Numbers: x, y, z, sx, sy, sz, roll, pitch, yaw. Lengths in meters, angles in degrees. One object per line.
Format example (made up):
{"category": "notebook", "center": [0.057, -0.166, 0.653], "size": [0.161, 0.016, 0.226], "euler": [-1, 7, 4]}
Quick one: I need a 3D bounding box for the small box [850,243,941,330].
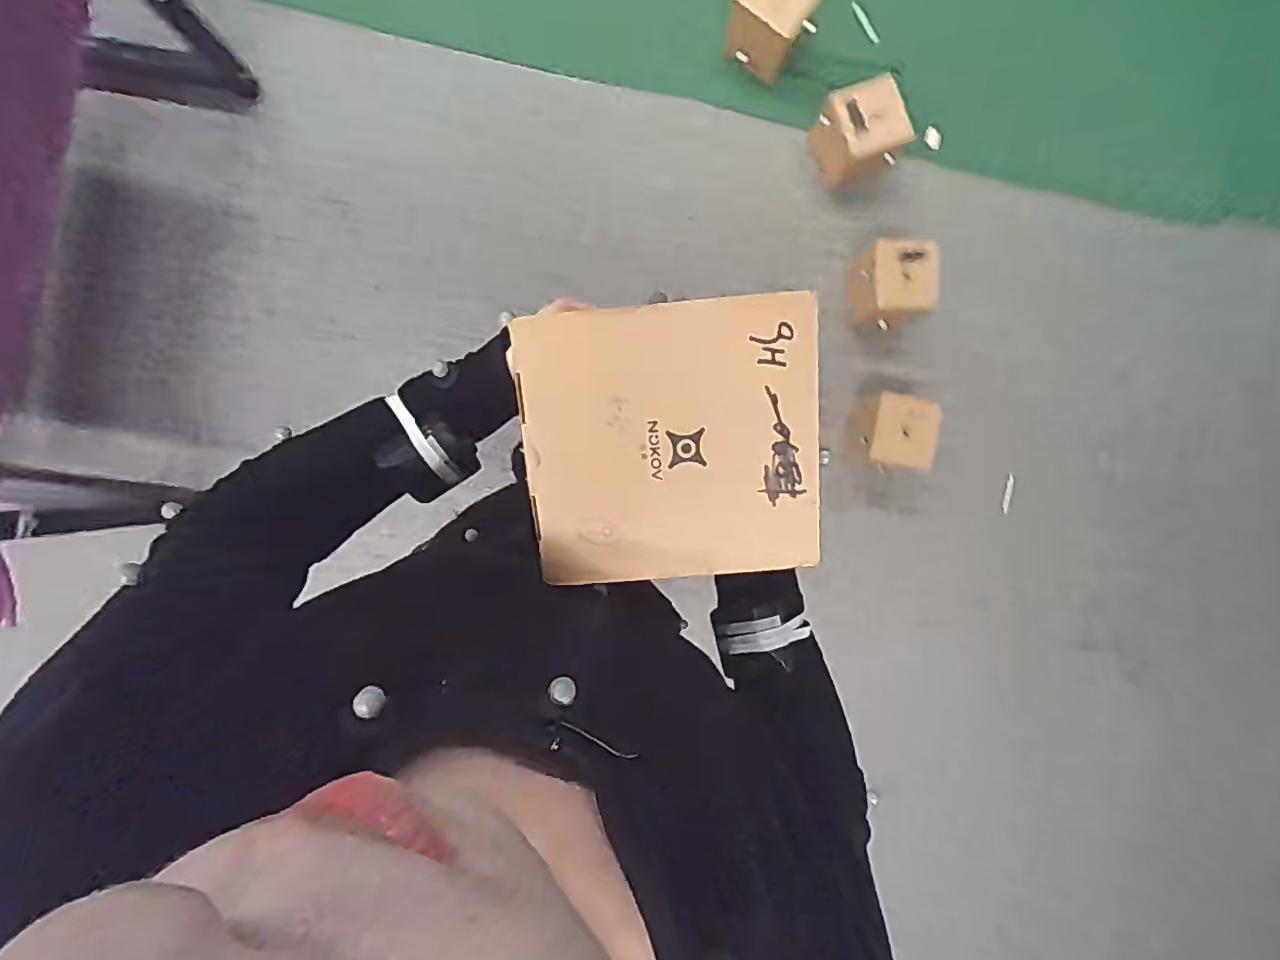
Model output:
{"category": "small box", "center": [0.680, -0.515, 1.454], "size": [0.168, 0.176, 0.179], "euler": [0, 91, -3]}

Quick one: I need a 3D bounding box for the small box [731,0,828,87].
{"category": "small box", "center": [0.364, -1.214, 1.438], "size": [0.168, 0.176, 0.179], "euler": [36, 88, -2]}

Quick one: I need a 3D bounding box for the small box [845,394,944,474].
{"category": "small box", "center": [0.676, -0.117, 1.455], "size": [0.168, 0.176, 0.179], "euler": [13, 90, -4]}
